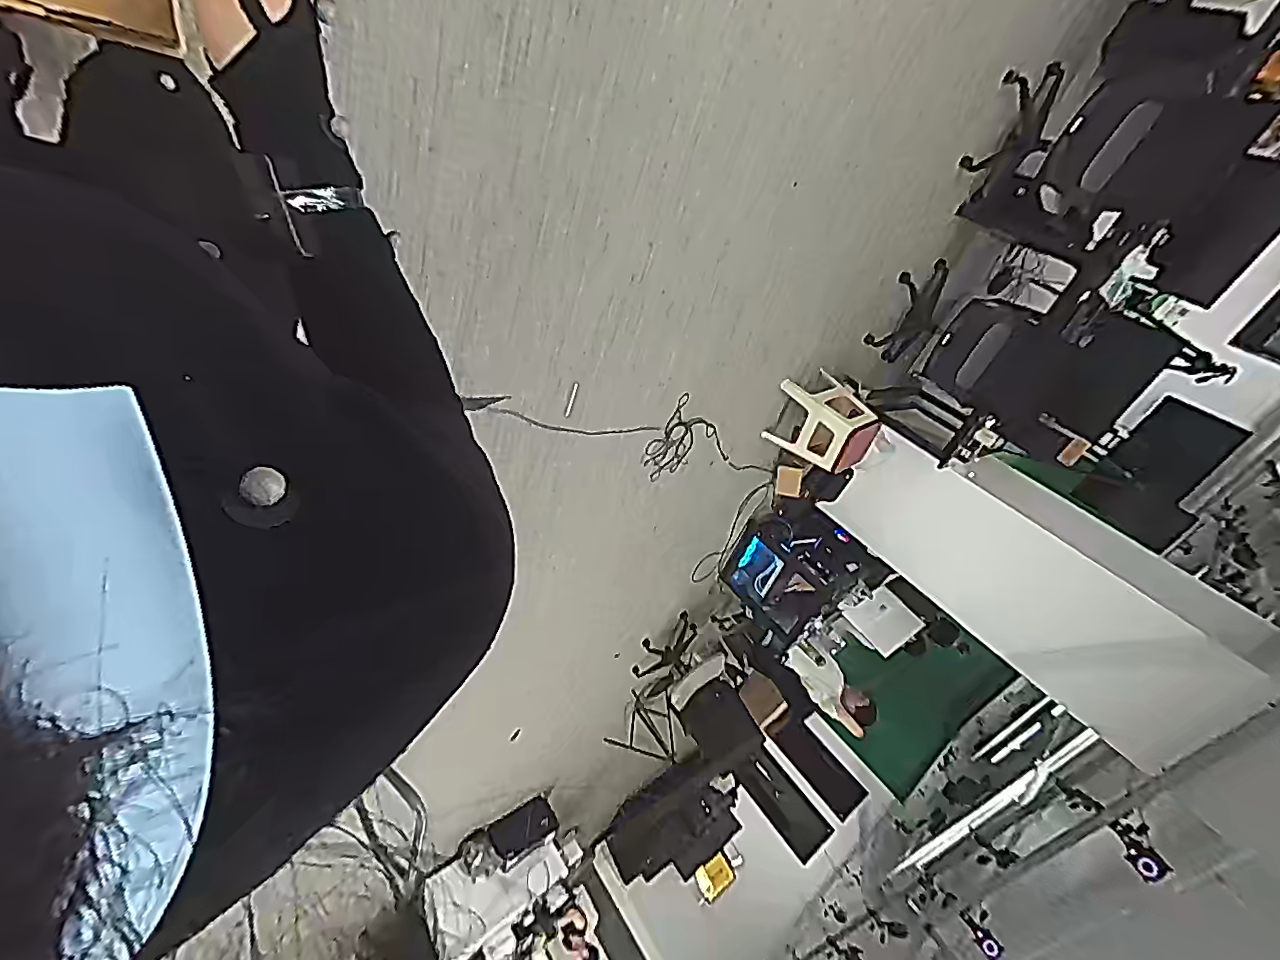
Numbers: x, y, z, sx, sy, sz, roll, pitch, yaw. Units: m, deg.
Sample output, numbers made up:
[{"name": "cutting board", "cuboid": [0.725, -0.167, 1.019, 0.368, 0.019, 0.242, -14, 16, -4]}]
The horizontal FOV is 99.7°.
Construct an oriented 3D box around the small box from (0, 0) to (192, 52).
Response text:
[{"name": "small box", "cuboid": [-0.388, -0.389, 0.322, 0.168, 0.176, 0.179, -9, 125, -35]}]
